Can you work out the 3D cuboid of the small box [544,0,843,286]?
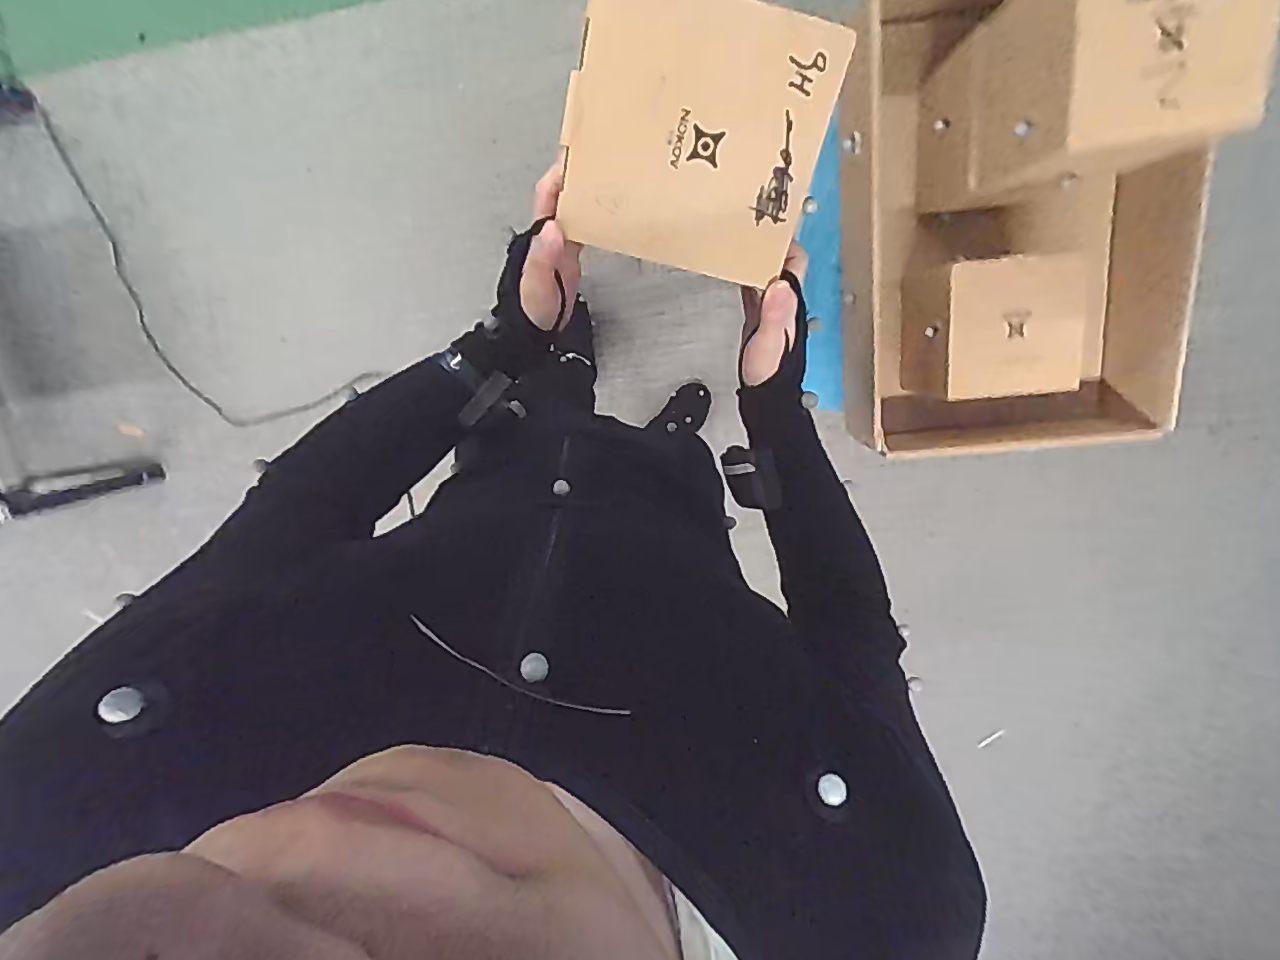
[{"bbox_3d":[0.036,-0.271,0.450,0.179,0.176,0.168,14,115,-1],"label":"small box"}]
